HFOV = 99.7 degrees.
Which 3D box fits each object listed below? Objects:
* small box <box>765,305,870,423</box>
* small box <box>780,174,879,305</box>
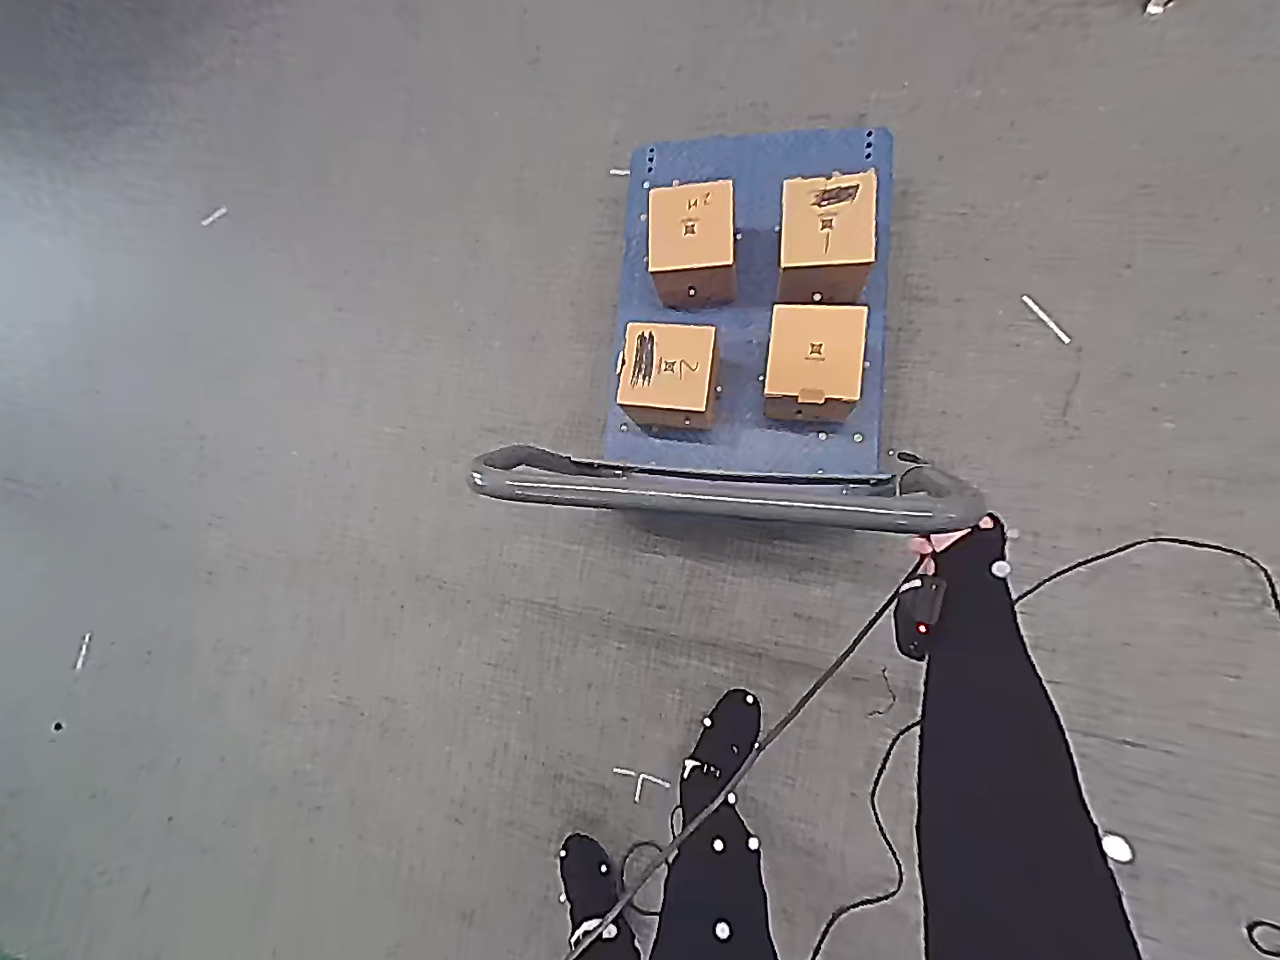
[{"bbox_3d":[0.335,-0.218,1.045,0.168,0.176,0.179,6,86,13],"label":"small box"},{"bbox_3d":[0.367,-0.464,1.067,0.168,0.176,0.179,2,85,14],"label":"small box"}]
